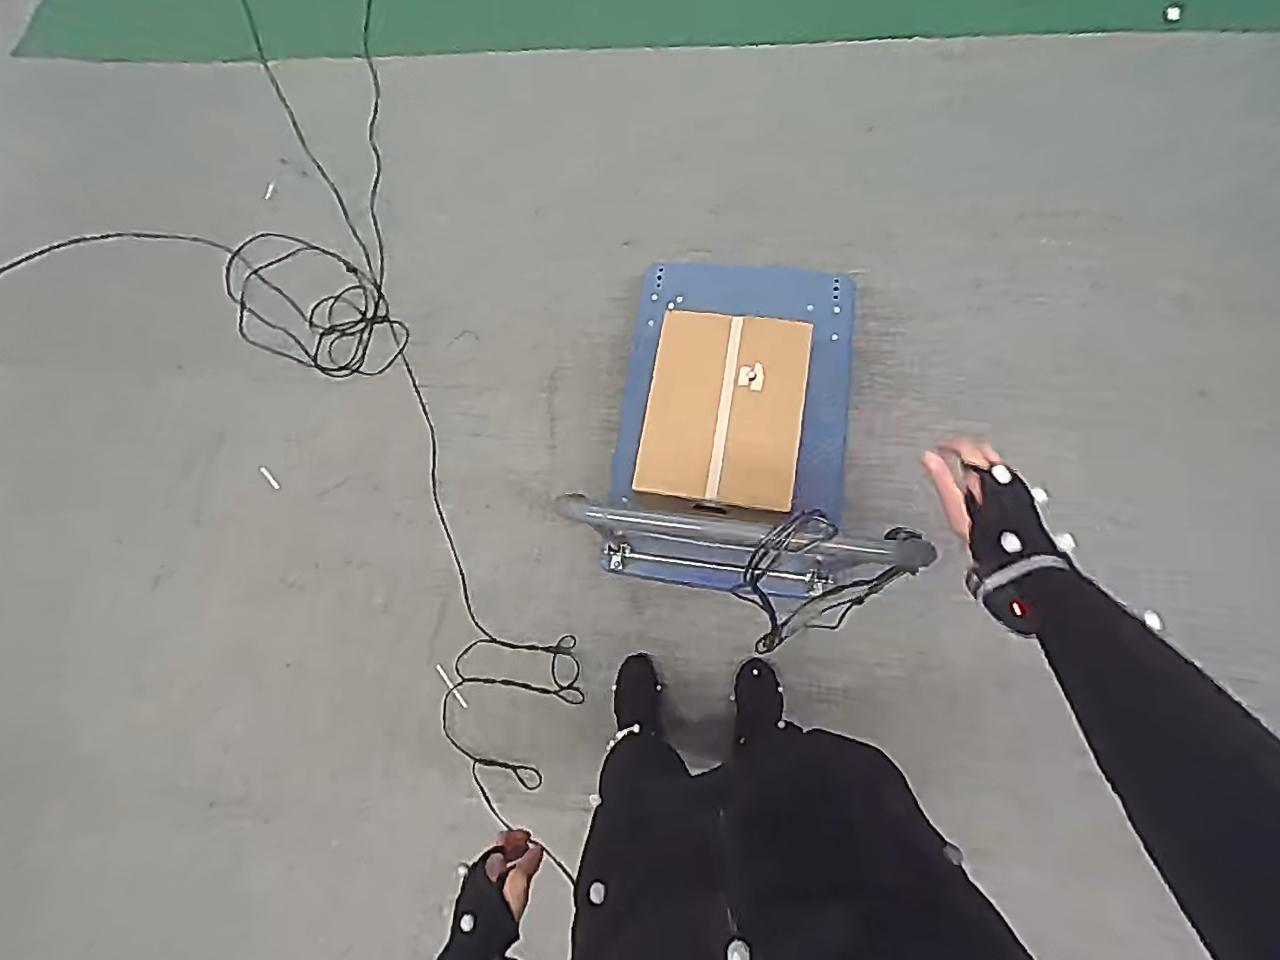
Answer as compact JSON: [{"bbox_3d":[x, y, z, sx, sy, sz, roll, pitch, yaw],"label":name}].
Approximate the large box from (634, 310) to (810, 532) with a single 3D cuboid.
[{"bbox_3d":[0.184,-0.116,1.229,0.320,0.320,0.408,9,77,8],"label":"large box"}]
